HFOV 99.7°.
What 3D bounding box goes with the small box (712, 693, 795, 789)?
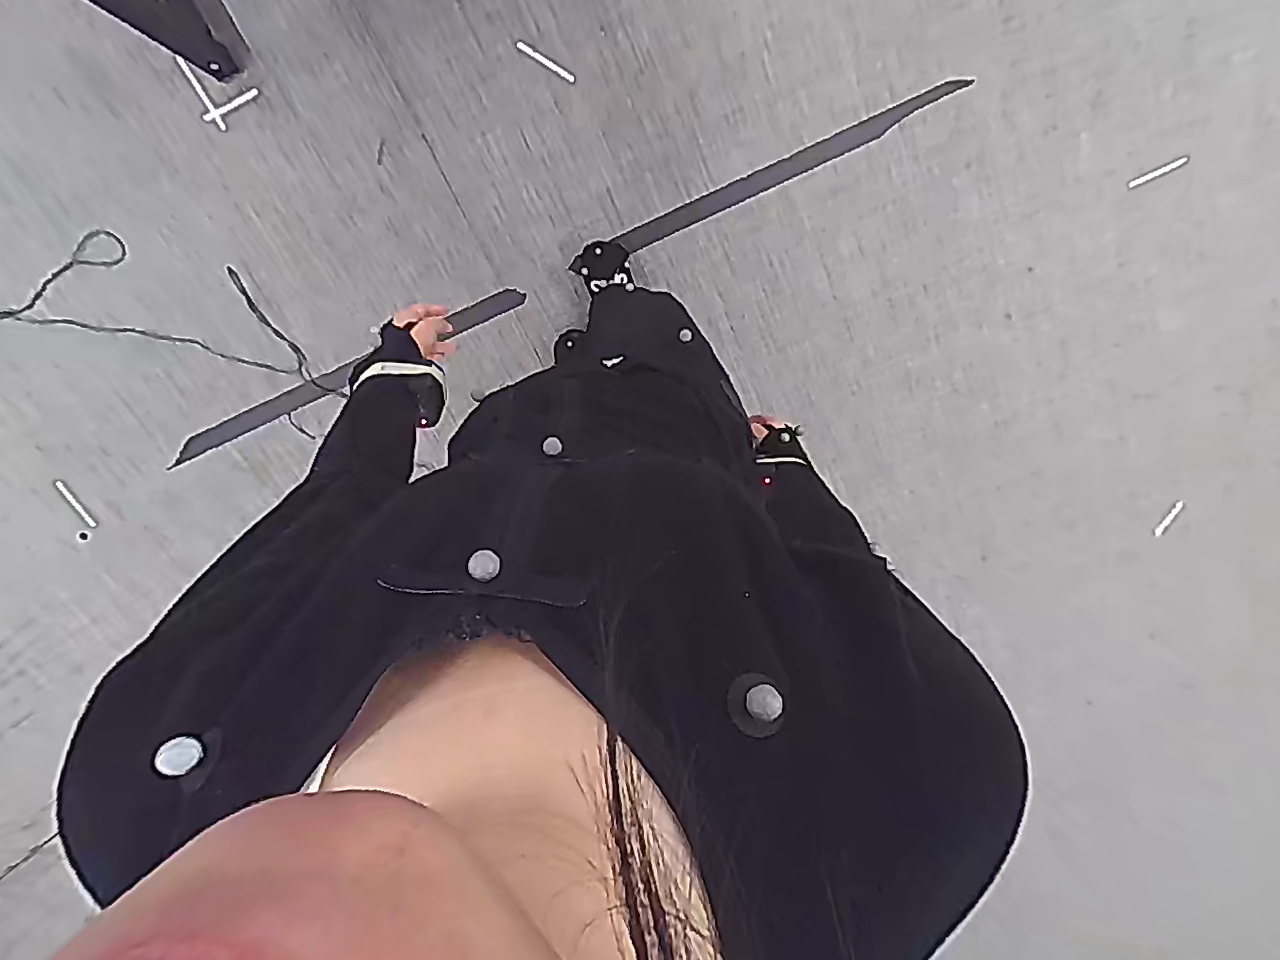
[{"bbox_3d":[0.347,0.803,1.676,0.168,0.176,0.179,-34,106,5],"label":"small box"}]
